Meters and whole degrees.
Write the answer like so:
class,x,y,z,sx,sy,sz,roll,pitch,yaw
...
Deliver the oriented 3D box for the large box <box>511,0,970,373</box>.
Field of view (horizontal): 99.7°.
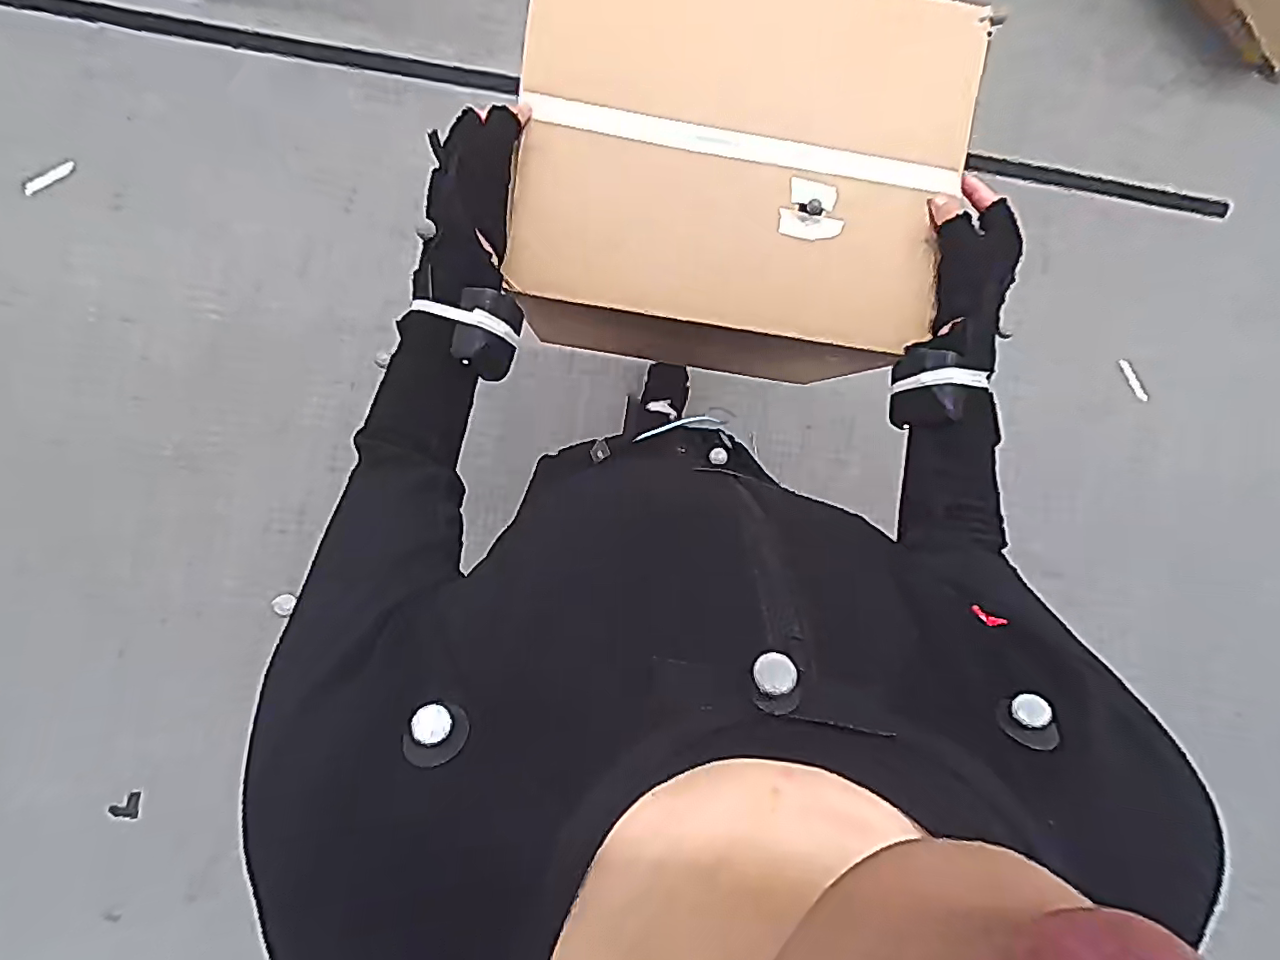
class,x,y,z,sx,sy,sz,roll,pitch,yaw
large box,0.082,-0.322,0.648,0.408,0.320,0.320,8,96,-5
